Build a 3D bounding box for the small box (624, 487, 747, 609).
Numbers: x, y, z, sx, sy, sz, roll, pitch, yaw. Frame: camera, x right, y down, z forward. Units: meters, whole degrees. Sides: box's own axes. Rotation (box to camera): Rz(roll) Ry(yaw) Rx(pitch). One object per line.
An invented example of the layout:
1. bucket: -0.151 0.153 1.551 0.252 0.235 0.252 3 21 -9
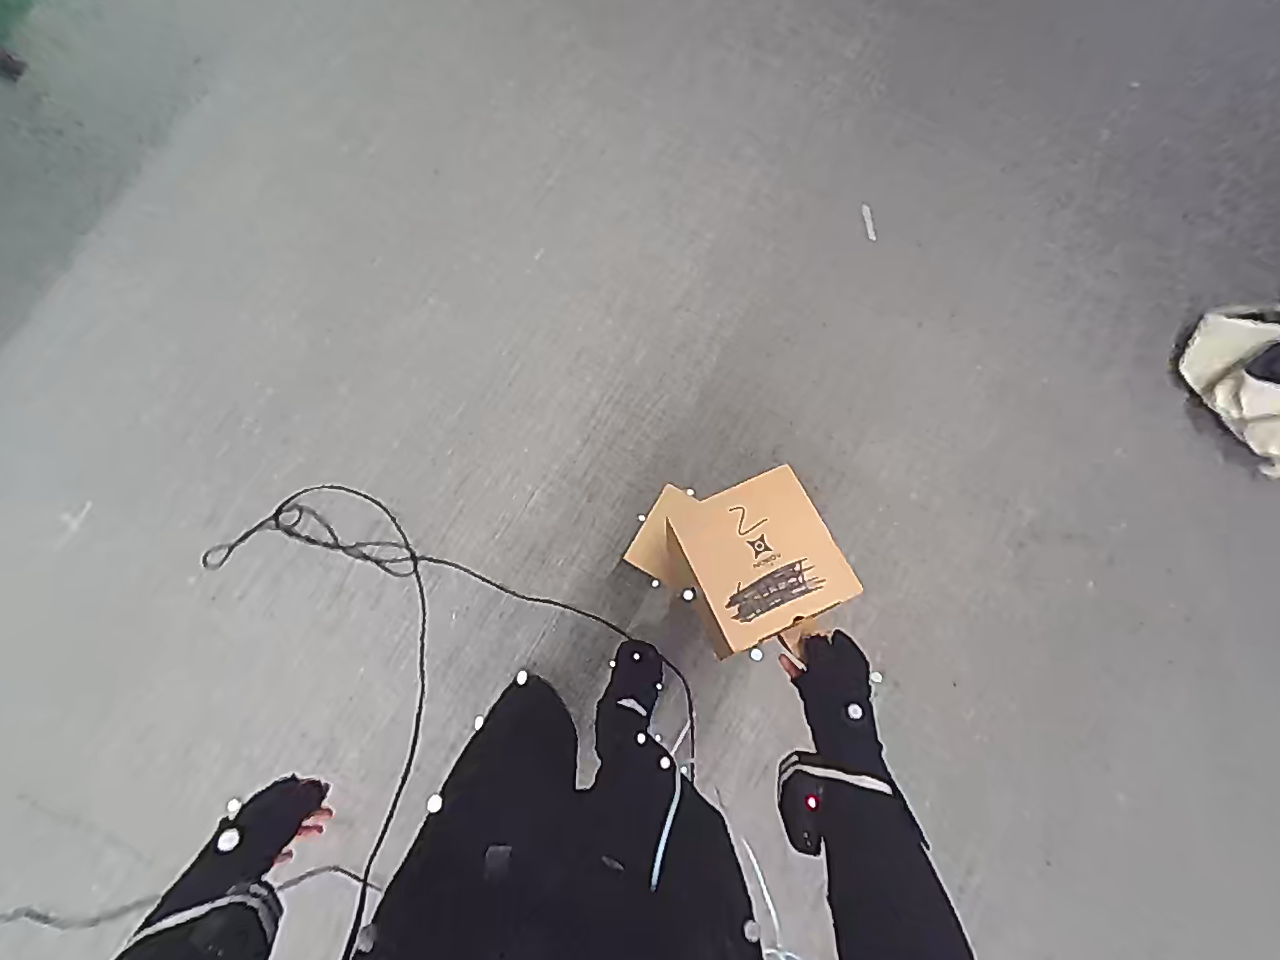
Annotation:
1. small box: 0.084 0.137 1.072 0.179 0.176 0.168 31 83 4
